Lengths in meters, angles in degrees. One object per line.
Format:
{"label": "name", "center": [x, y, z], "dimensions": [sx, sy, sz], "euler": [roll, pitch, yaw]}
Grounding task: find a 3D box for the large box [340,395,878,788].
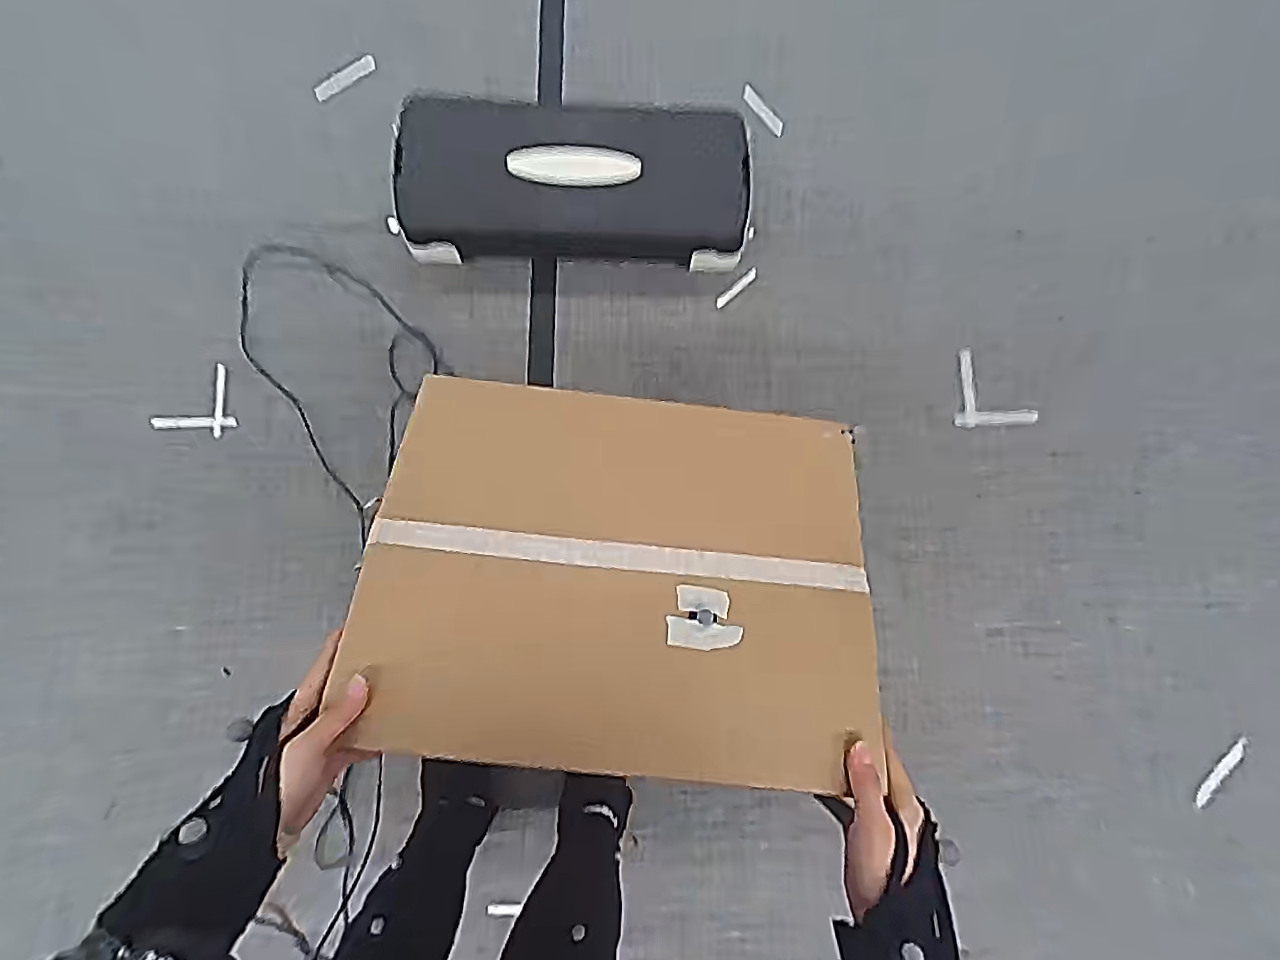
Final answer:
{"label": "large box", "center": [-0.022, 0.137, 0.590], "dimensions": [0.408, 0.320, 0.320], "euler": [6, 64, -2]}
